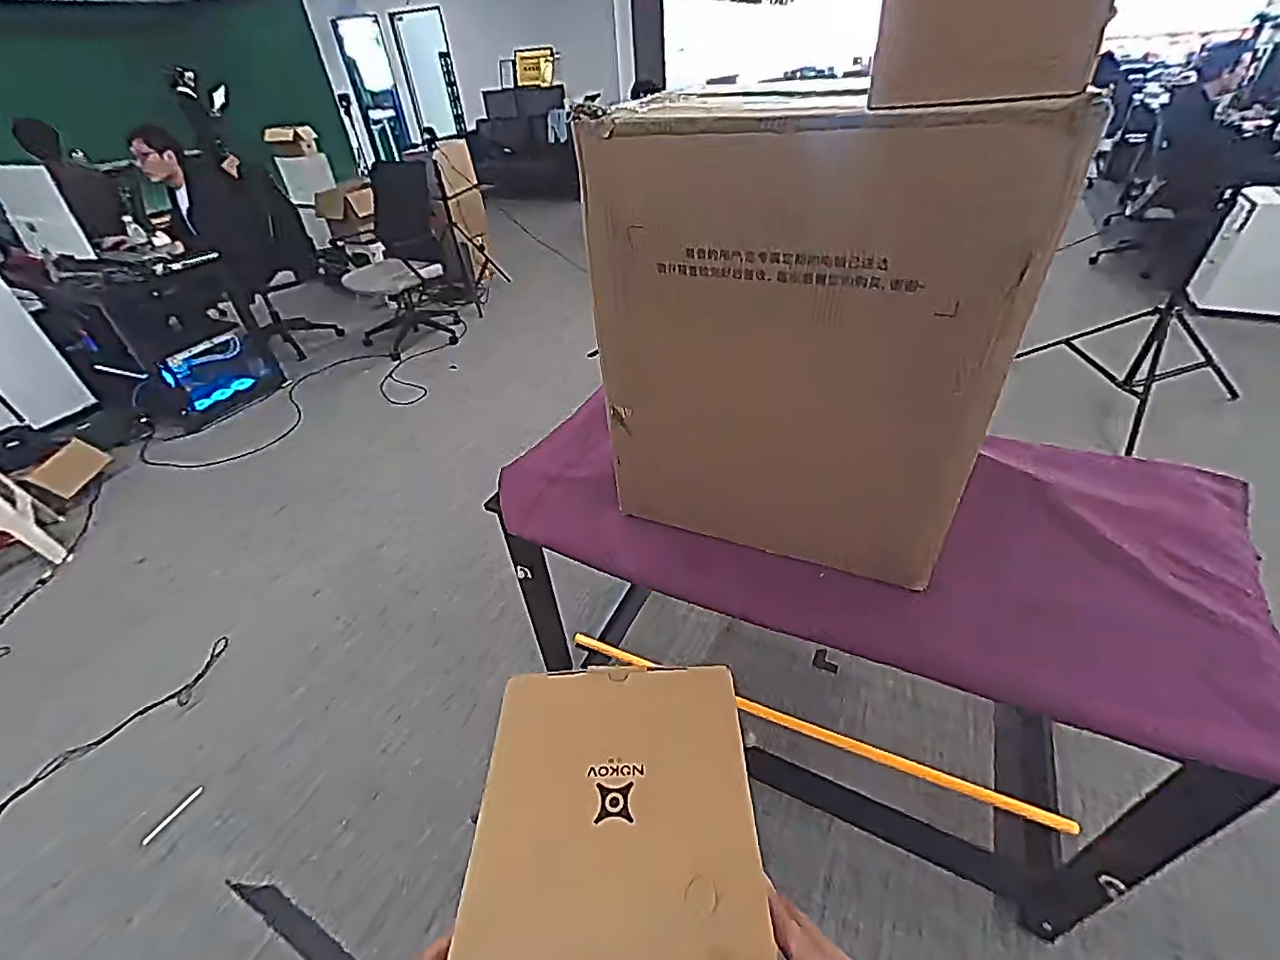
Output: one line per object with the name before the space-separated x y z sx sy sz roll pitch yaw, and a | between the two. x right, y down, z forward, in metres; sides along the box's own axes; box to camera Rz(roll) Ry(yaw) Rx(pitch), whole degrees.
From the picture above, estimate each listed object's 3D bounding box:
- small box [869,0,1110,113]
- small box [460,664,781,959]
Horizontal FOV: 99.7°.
small box | 0.317 -0.446 0.493 0.179 0.176 0.168 11 41 21
small box | -0.005 0.256 0.378 0.168 0.176 0.179 -4 36 1
